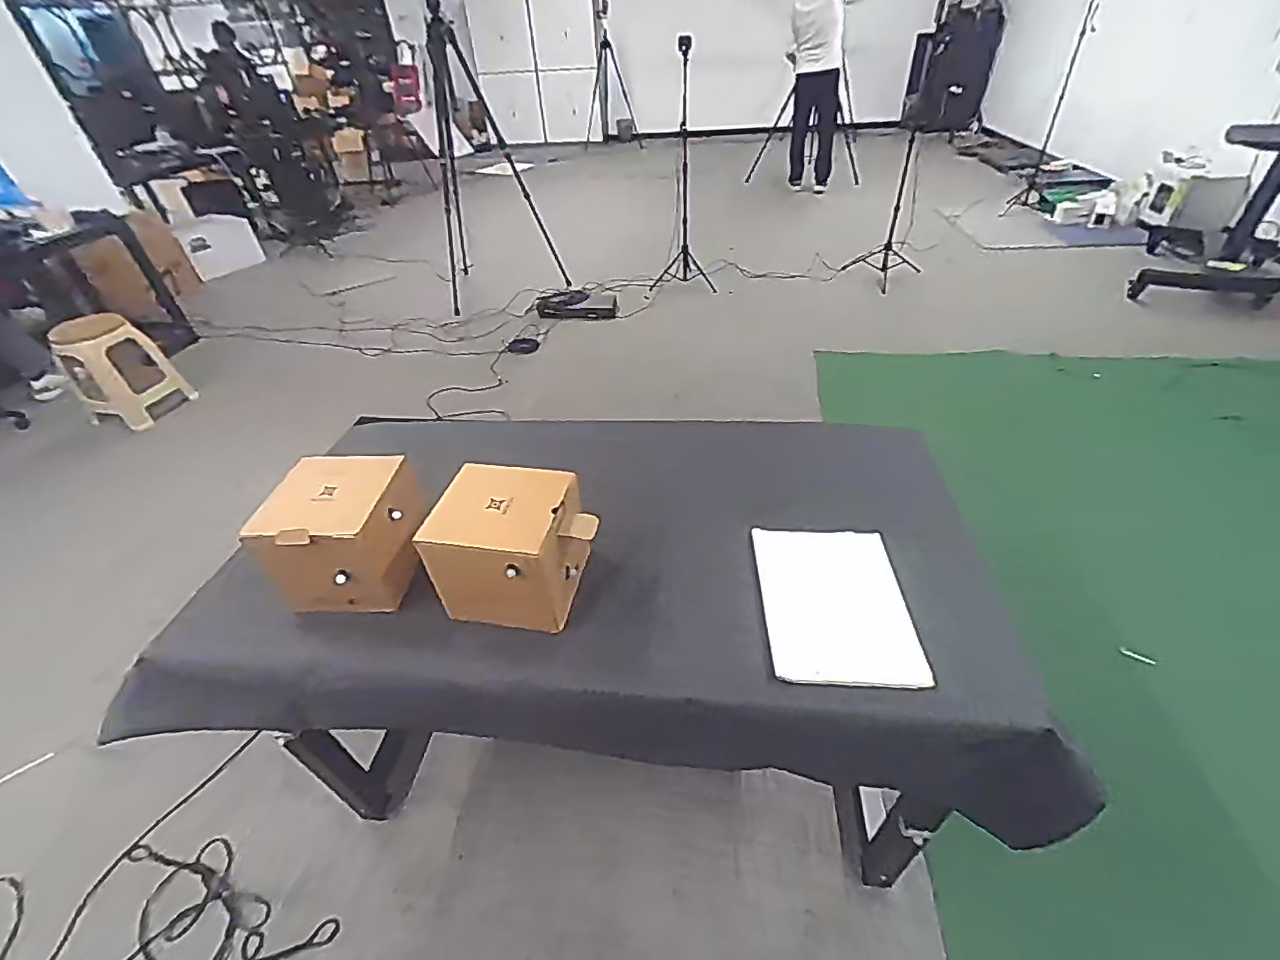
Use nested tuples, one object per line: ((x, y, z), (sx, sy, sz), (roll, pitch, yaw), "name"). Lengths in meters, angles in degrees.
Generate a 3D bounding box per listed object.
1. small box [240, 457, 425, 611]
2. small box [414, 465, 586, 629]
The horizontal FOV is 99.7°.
((-0.445, 0.084, 0.826), (0.168, 0.176, 0.179), (0, 39, 3), "small box")
((-0.189, 0.097, 0.788), (0.179, 0.176, 0.168), (5, 40, 10), "small box")
